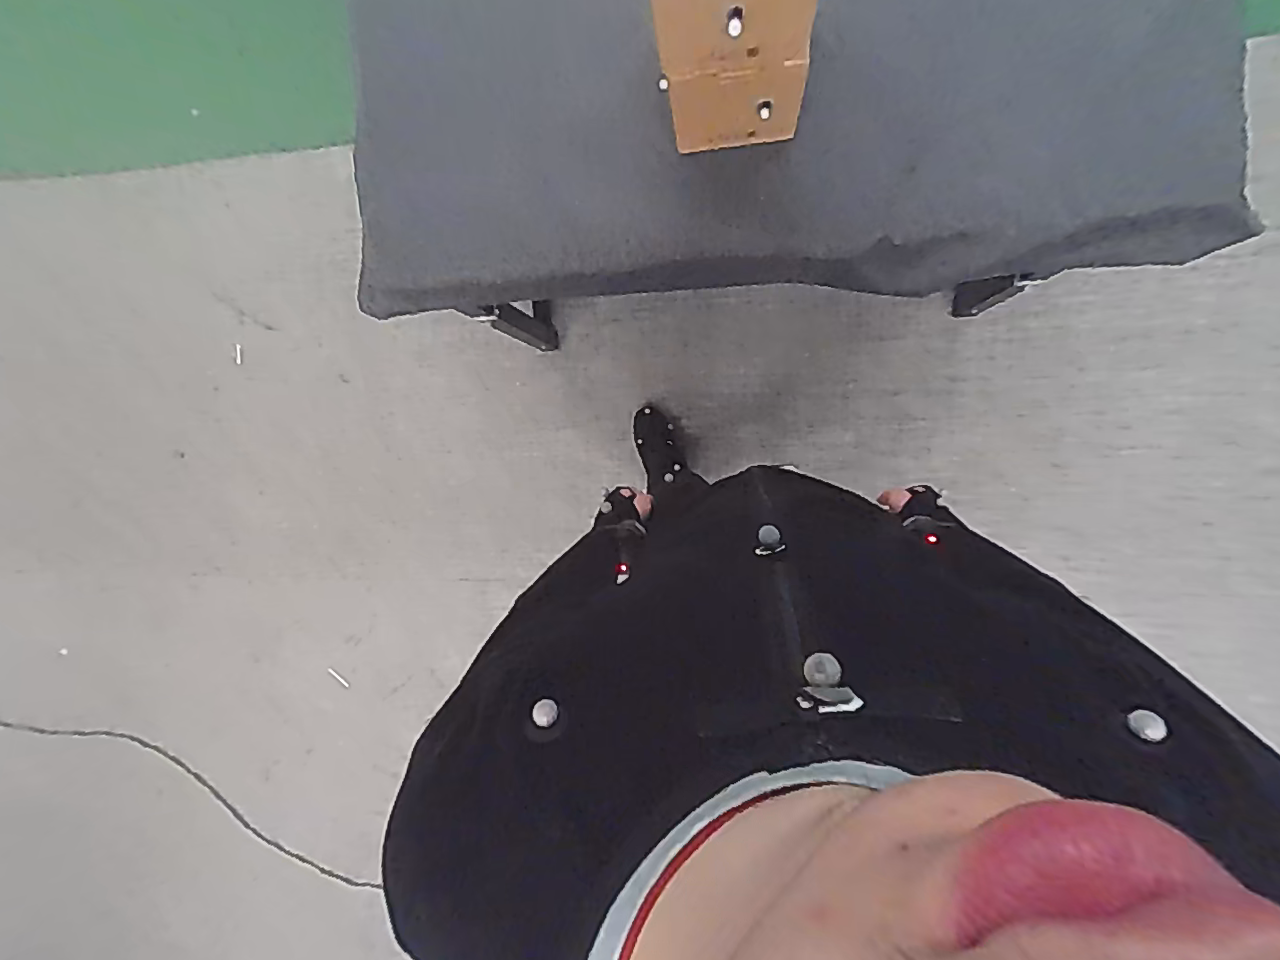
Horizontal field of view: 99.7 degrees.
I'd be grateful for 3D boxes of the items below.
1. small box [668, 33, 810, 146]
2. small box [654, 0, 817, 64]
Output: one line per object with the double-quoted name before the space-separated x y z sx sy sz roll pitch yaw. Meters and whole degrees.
"small box" 0.123 -0.563 0.701 0.168 0.176 0.179 -3 93 8
"small box" 0.096 -0.555 0.539 0.168 0.176 0.179 -1 95 7
